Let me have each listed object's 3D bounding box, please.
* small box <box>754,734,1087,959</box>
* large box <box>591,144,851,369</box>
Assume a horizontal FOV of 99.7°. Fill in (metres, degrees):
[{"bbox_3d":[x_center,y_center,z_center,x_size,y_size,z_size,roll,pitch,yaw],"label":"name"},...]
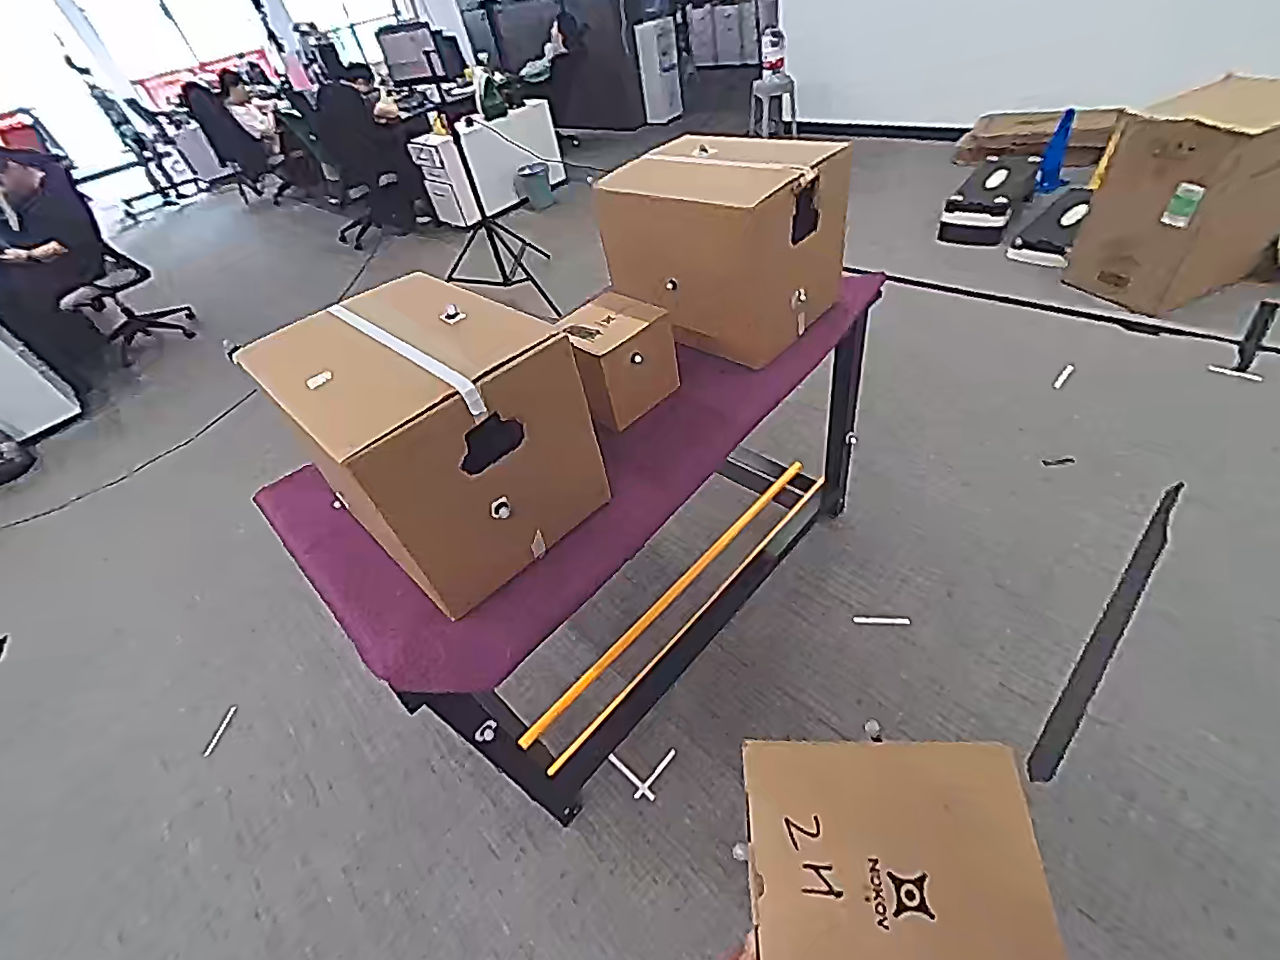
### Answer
[{"bbox_3d":[0.177,0.280,0.396,0.179,0.176,0.168,-4,63,11],"label":"small box"},{"bbox_3d":[0.172,-0.478,1.129,0.408,0.320,0.320,29,58,37],"label":"large box"}]
